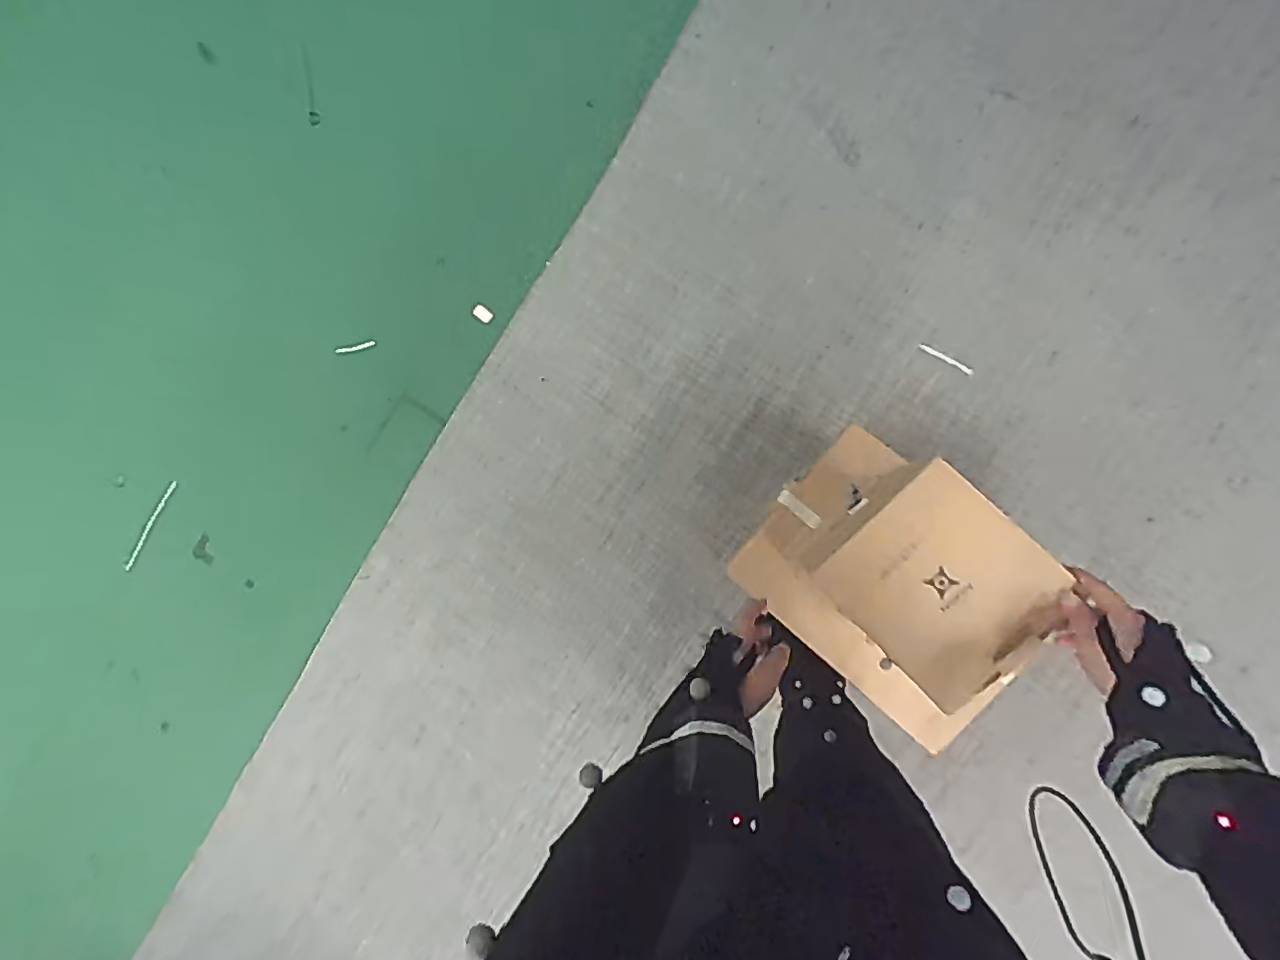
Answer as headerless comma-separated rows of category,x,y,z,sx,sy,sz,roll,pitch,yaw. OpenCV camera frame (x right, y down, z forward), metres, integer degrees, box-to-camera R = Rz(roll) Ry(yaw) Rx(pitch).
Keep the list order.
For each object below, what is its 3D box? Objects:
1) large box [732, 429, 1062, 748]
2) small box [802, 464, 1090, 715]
large box,0.418,0.161,0.959,0.408,0.320,0.320,41,98,11
small box,0.296,0.101,0.572,0.168,0.176,0.179,-46,80,6
